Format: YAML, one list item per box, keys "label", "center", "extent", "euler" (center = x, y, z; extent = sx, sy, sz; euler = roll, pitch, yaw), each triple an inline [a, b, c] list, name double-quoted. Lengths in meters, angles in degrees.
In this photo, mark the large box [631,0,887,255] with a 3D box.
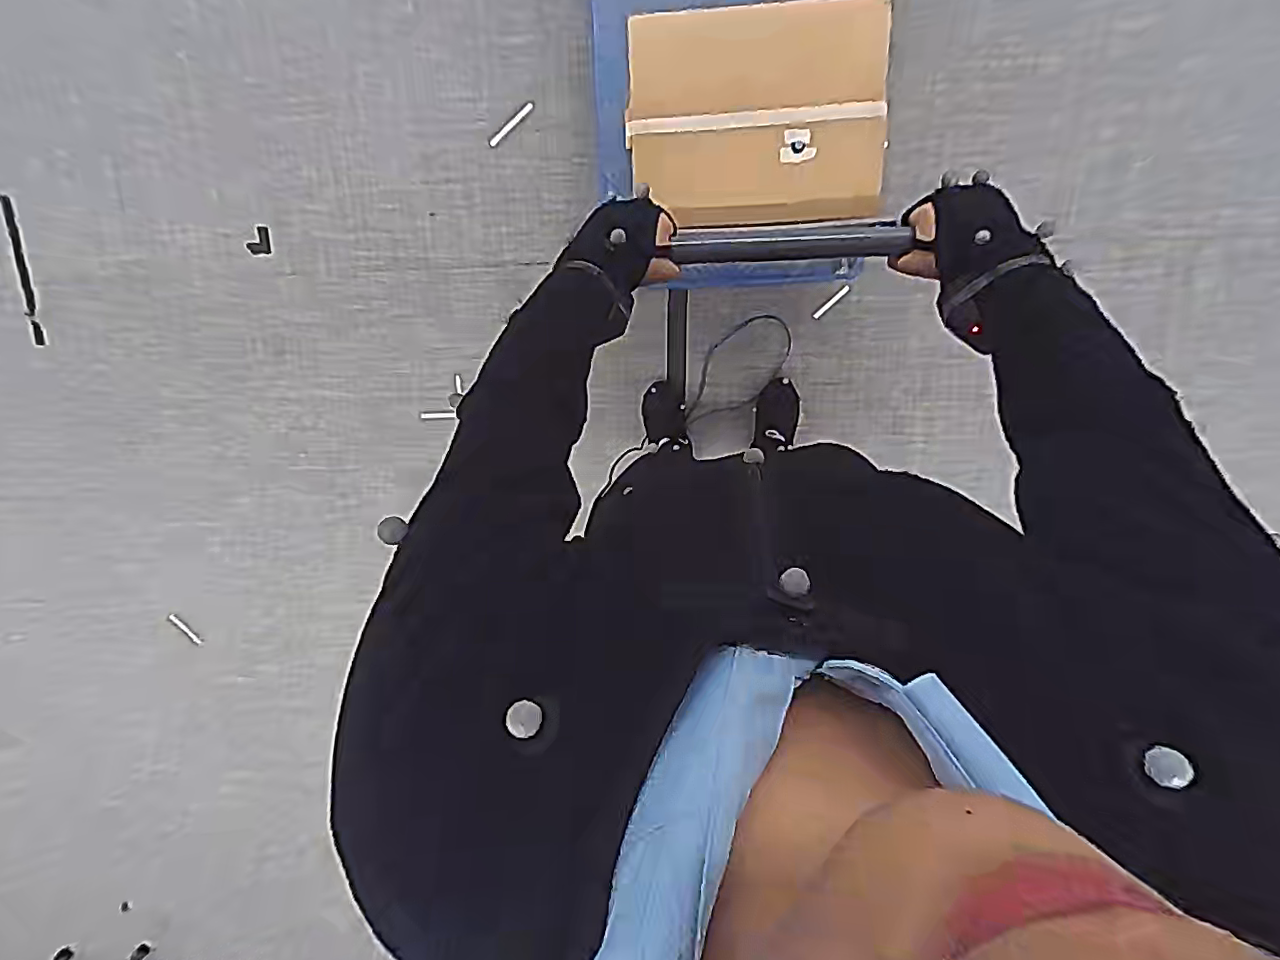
- label: "large box"
  center: [0.199, -0.625, 1.025]
  extent: [0.408, 0.320, 0.320]
  euler: [-1, 105, 4]
